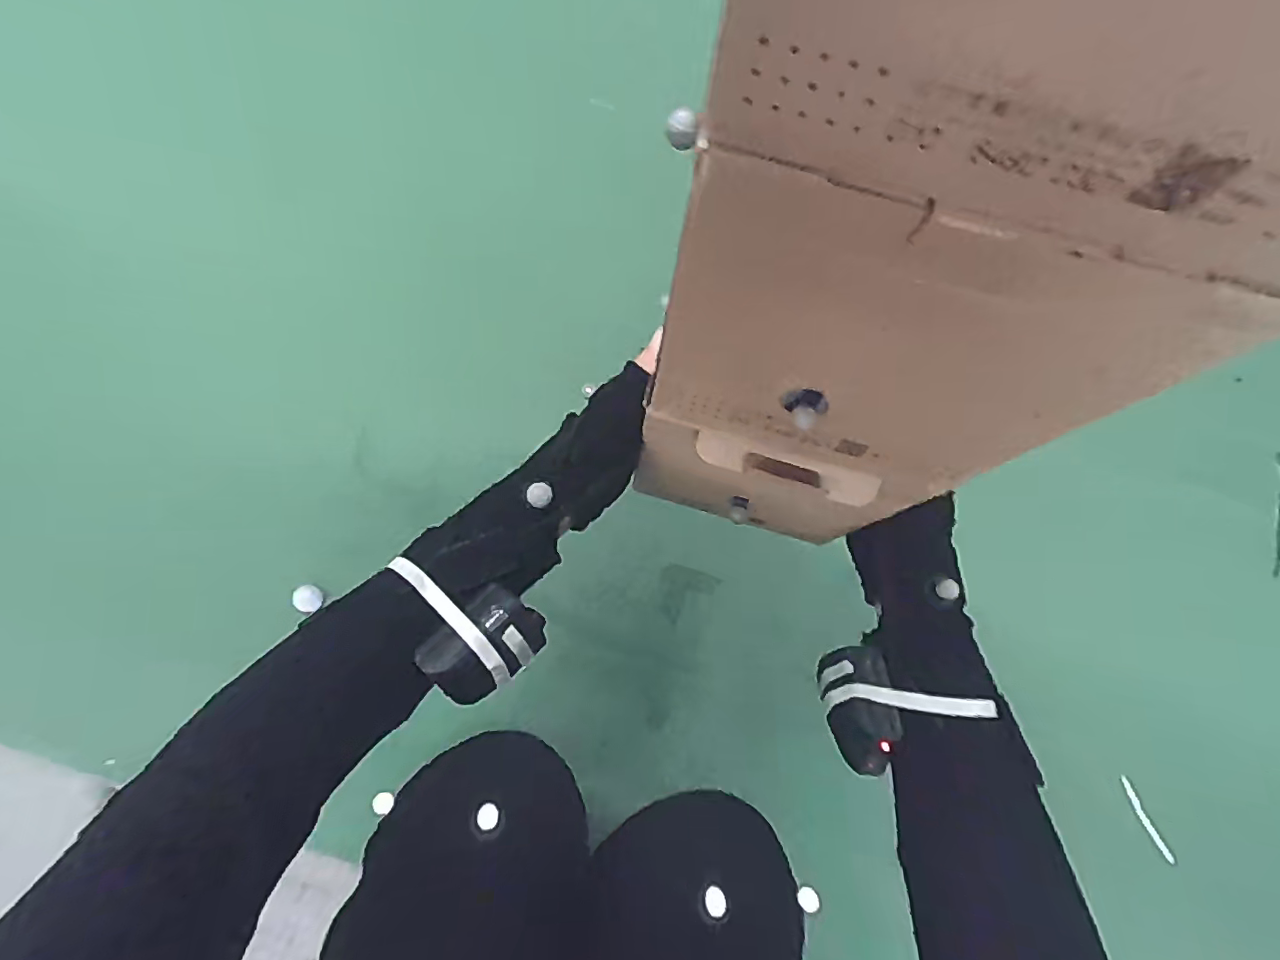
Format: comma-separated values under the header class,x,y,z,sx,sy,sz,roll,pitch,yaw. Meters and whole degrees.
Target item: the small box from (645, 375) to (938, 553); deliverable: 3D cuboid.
class,x,y,z,sx,sy,sz,roll,pitch,yaw
small box,0.107,-0.060,0.406,0.168,0.176,0.179,17,73,1
